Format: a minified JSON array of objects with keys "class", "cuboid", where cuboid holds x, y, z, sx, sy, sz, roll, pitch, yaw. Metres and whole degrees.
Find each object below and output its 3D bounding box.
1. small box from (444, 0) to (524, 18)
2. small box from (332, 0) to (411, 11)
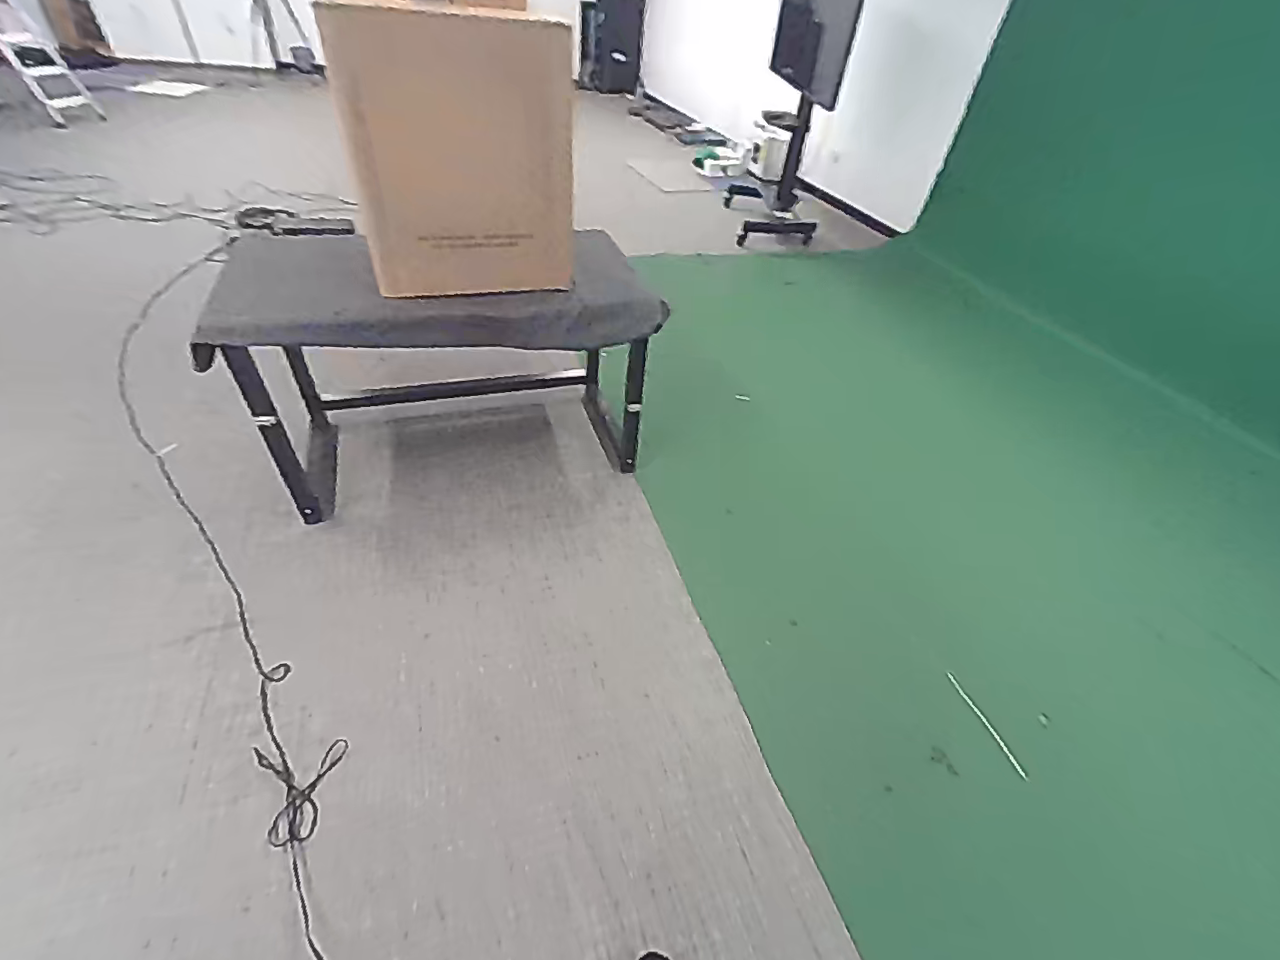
[{"class":"small box","cuboid":[-0.372,-1.193,1.254,0.168,0.176,0.179,-13,46,-20]},{"class":"small box","cuboid":[-0.608,-1.149,1.184,0.168,0.176,0.179,-11,45,-16]}]
